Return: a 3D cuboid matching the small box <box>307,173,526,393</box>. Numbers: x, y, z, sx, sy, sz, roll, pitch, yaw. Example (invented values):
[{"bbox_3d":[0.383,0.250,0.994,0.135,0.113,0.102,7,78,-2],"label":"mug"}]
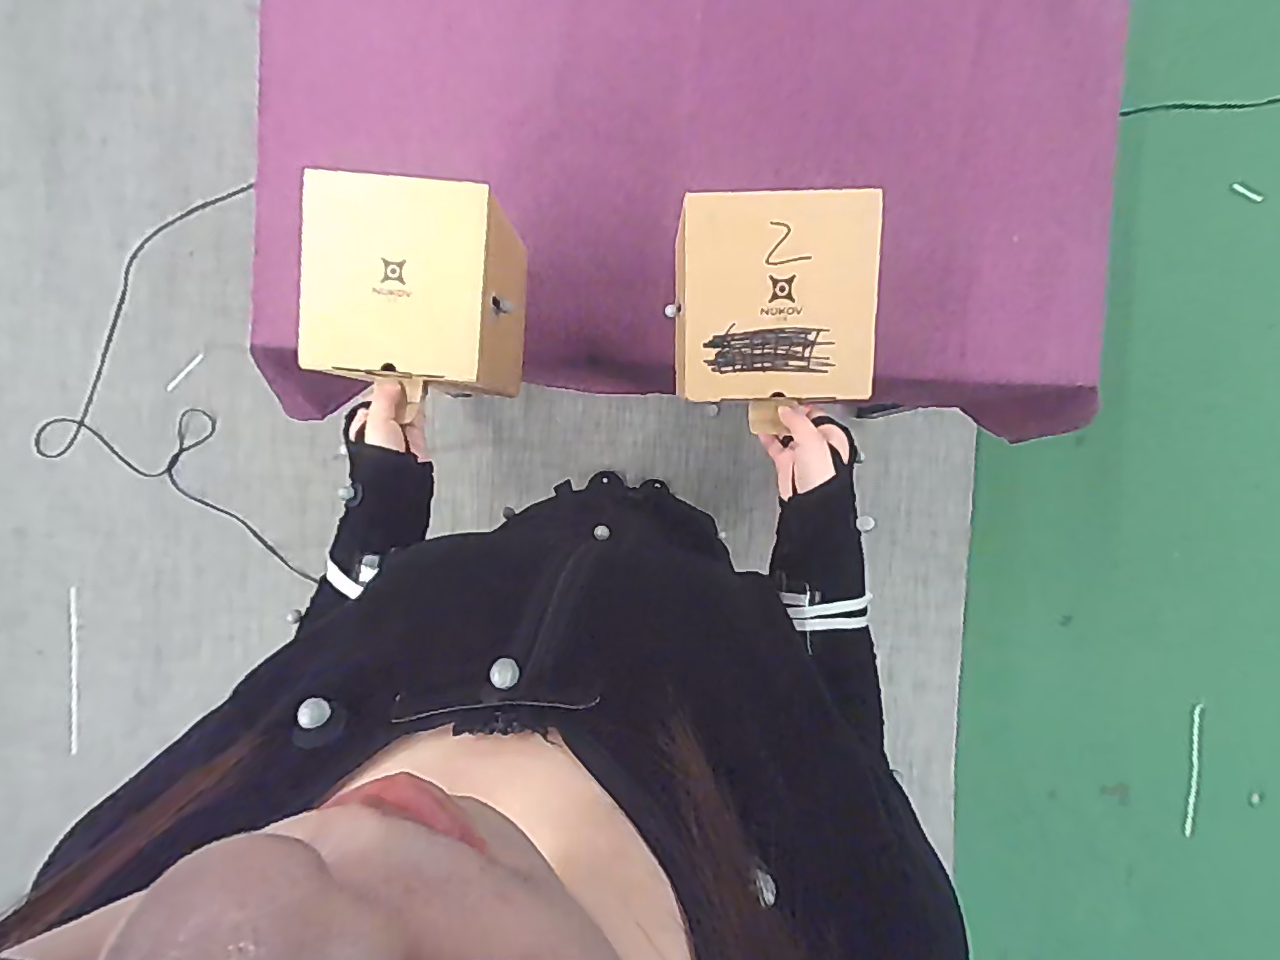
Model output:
[{"bbox_3d":[-0.223,-0.194,0.580,0.168,0.176,0.179,5,95,0],"label":"small box"}]
